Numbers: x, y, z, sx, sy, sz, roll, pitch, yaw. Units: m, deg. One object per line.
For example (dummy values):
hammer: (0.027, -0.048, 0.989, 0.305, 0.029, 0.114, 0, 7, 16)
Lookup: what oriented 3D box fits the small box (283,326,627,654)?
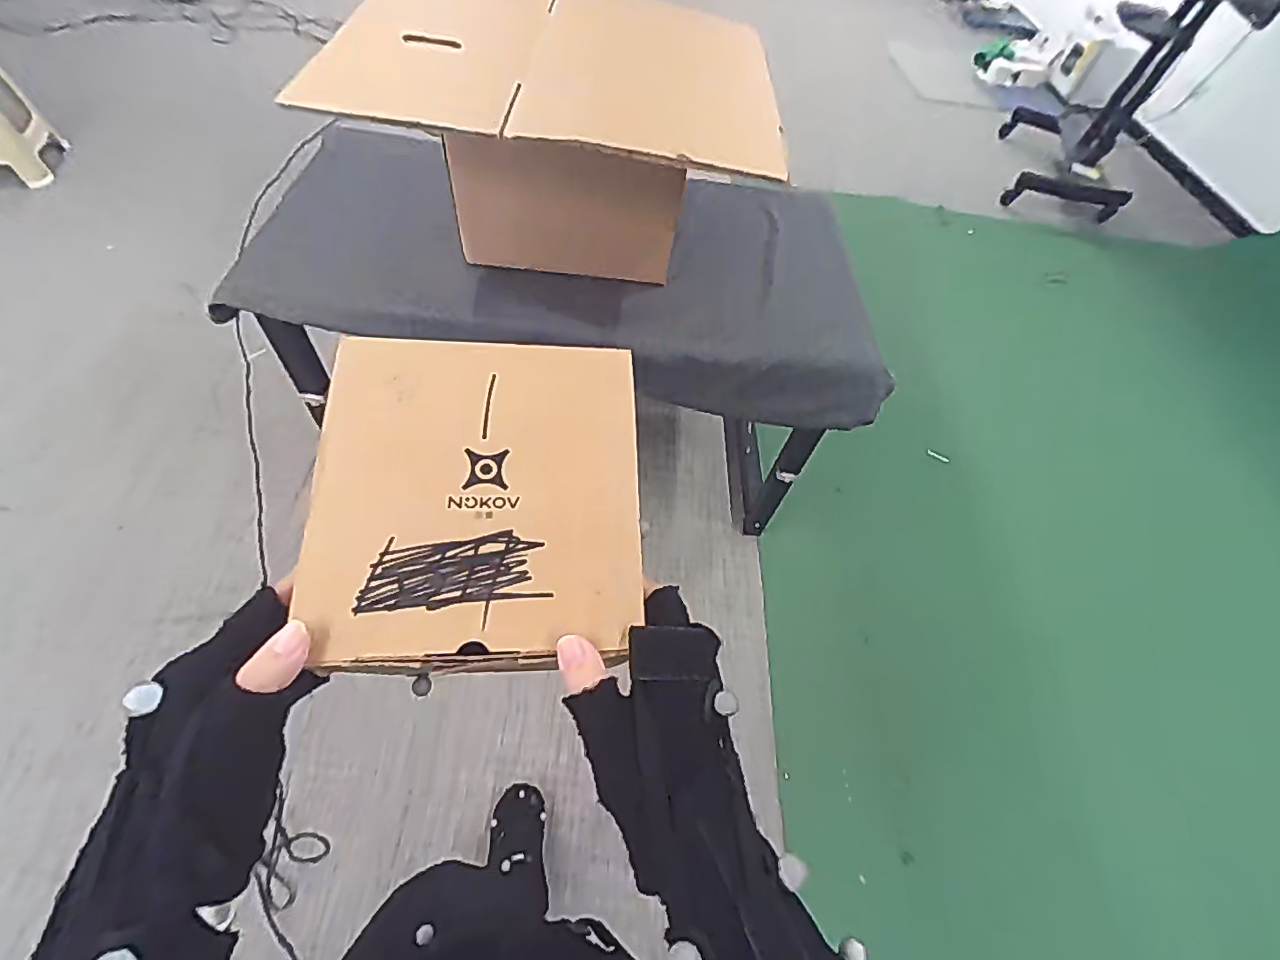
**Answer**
small box: (-0.098, 0.023, 0.362, 0.168, 0.176, 0.179, 1, 69, -8)
